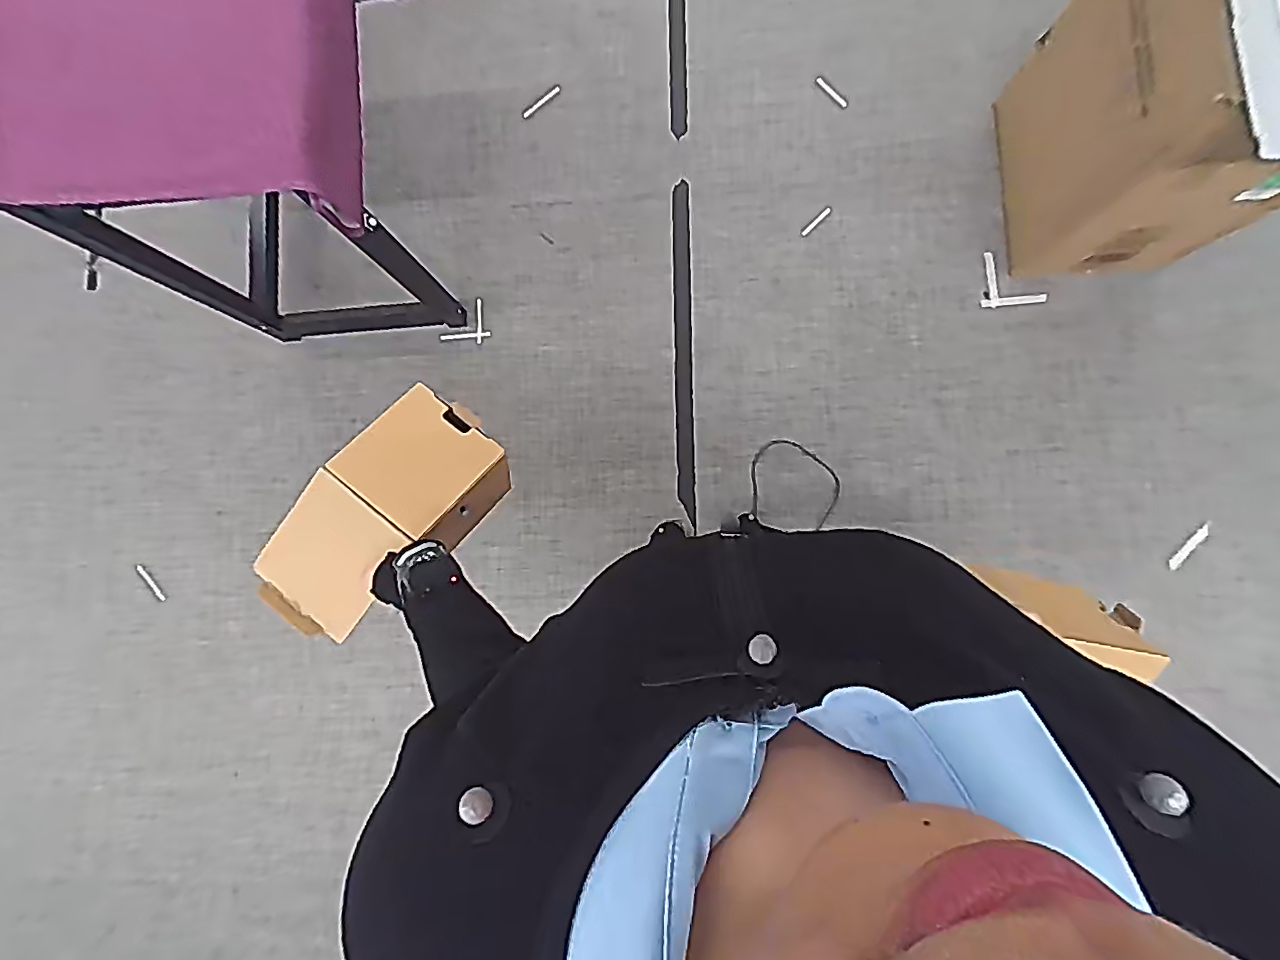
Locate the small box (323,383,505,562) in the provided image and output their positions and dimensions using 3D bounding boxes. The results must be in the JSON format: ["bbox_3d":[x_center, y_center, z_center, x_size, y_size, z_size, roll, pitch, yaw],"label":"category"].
[{"bbox_3d":[-0.314,-0.002,0.801,0.168,0.176,0.179,38,68,4],"label":"small box"}]
